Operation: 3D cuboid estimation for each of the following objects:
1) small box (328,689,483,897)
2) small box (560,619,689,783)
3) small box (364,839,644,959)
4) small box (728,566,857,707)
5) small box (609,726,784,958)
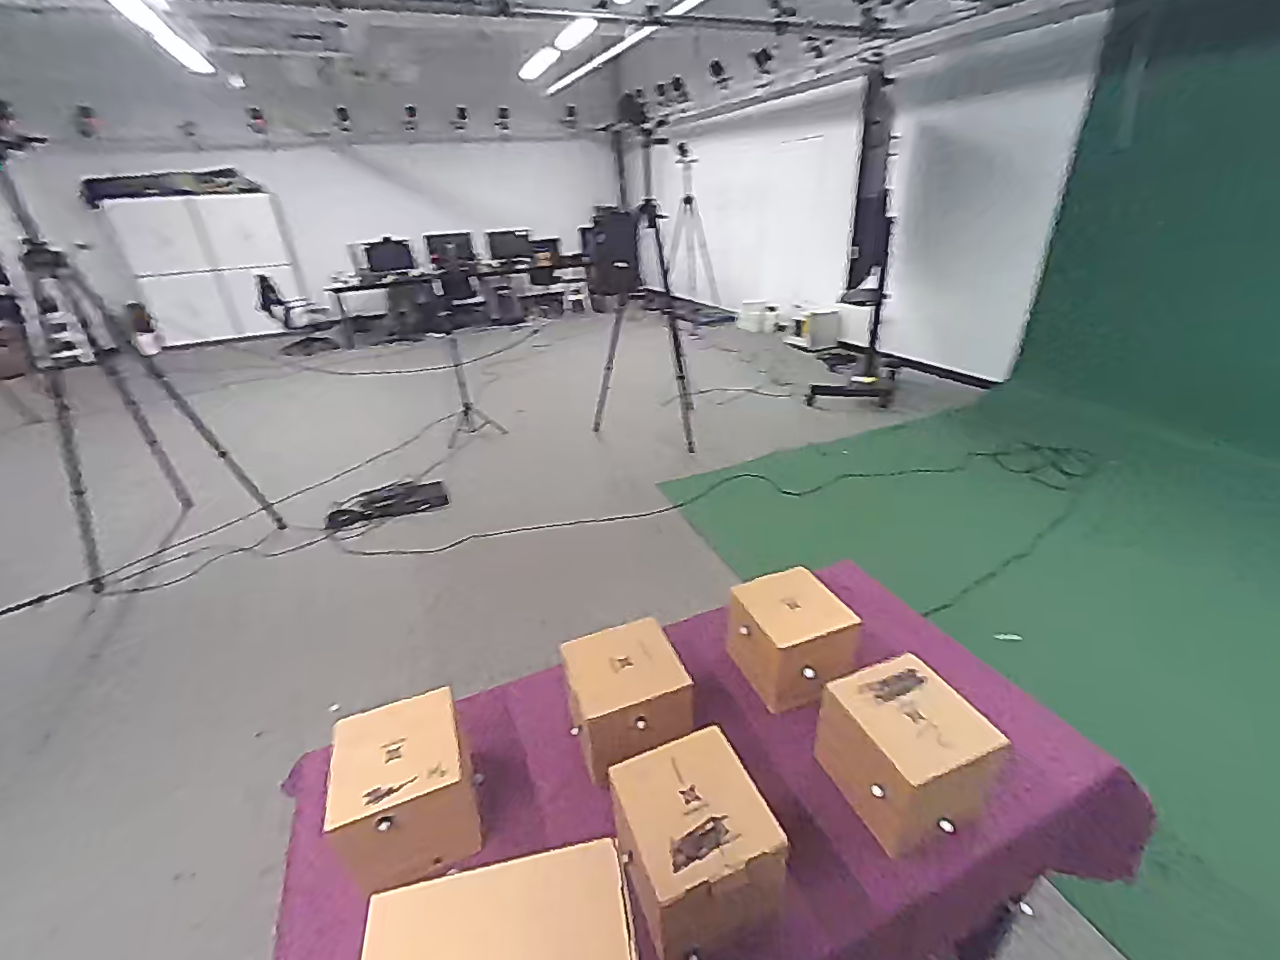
[{"bbox_3d":[-0.338,0.455,0.800,0.168,0.176,0.179,-14,29,-18],"label":"small box"},{"bbox_3d":[-0.024,0.372,0.917,0.179,0.176,0.168,-12,29,-16],"label":"small box"},{"bbox_3d":[-0.081,0.385,0.372,0.179,0.176,0.168,-9,39,-6],"label":"small box"},{"bbox_3d":[0.279,0.297,1.018,0.168,0.176,0.179,-13,29,-16],"label":"small box"},{"bbox_3d":[0.070,0.472,0.708,0.168,0.176,0.179,-14,28,-17],"label":"small box"}]
